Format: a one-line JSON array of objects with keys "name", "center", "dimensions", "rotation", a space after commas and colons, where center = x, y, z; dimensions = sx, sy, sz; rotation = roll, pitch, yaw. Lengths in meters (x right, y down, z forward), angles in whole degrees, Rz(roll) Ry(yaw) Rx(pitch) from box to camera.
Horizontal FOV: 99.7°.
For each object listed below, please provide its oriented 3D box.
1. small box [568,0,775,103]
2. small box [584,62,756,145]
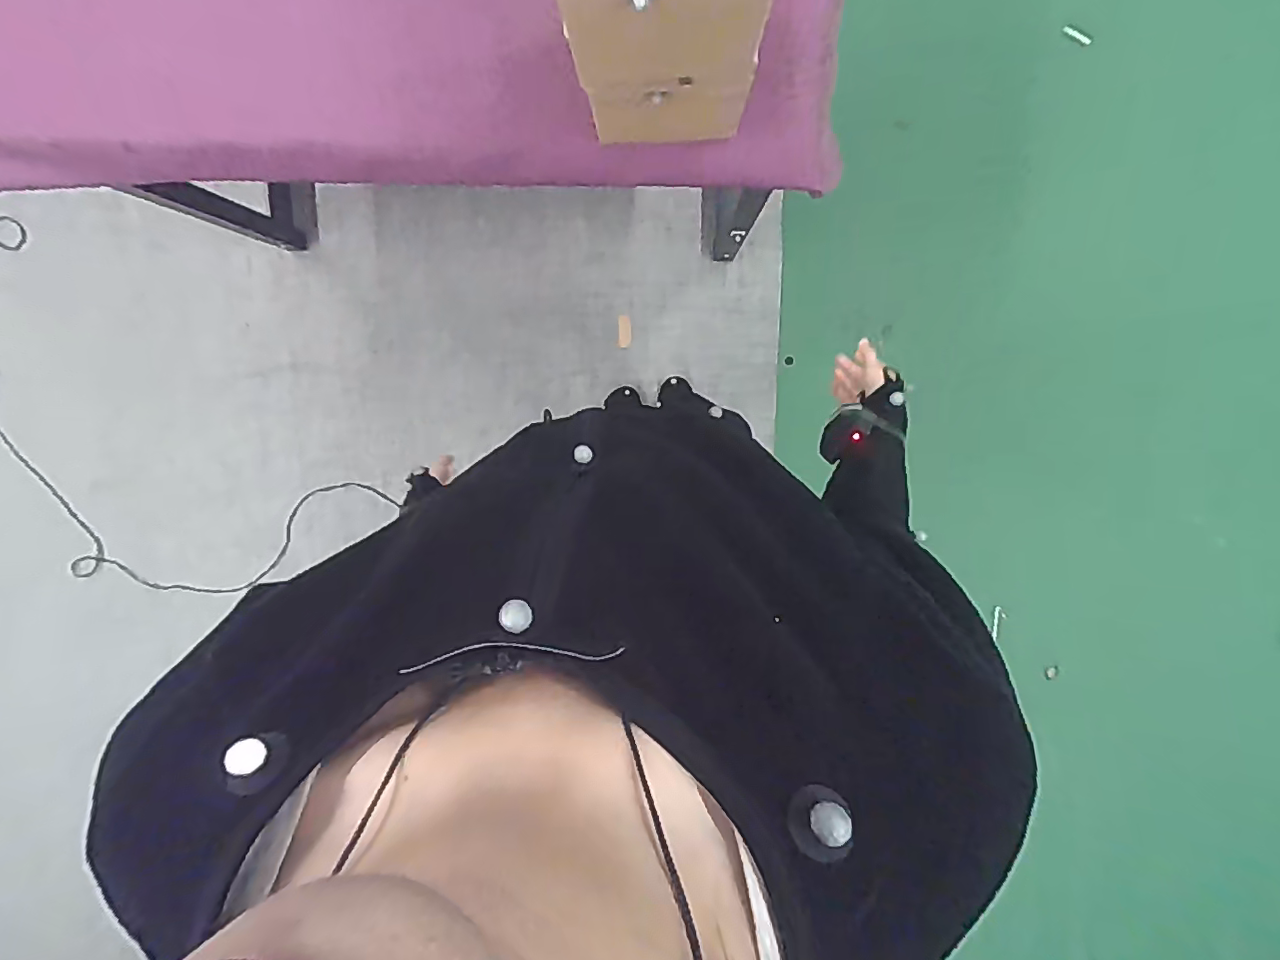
[{"name": "small box", "center": [0.025, -0.457, 0.452], "dimensions": [0.168, 0.176, 0.179], "rotation": [2, 99, 3]}, {"name": "small box", "center": [0.033, -0.502, 0.611], "dimensions": [0.179, 0.176, 0.168], "rotation": [-1, 100, 2]}]
